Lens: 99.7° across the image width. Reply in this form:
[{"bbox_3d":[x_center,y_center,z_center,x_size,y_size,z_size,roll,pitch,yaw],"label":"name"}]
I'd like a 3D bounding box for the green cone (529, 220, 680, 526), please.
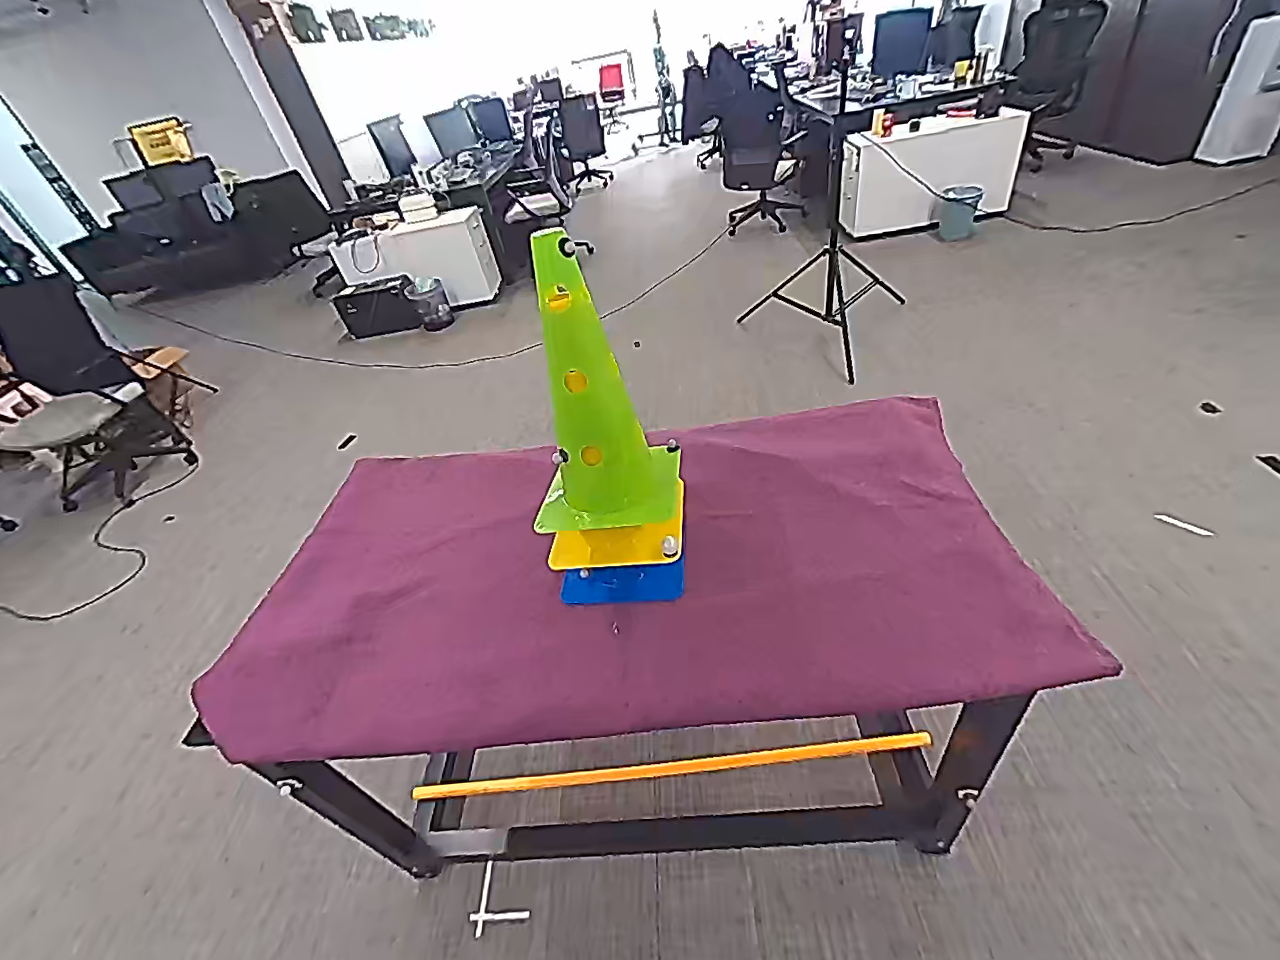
[{"bbox_3d":[-0.075,-0.142,0.710,0.200,0.368,0.202,-7,33,11],"label":"green cone"}]
